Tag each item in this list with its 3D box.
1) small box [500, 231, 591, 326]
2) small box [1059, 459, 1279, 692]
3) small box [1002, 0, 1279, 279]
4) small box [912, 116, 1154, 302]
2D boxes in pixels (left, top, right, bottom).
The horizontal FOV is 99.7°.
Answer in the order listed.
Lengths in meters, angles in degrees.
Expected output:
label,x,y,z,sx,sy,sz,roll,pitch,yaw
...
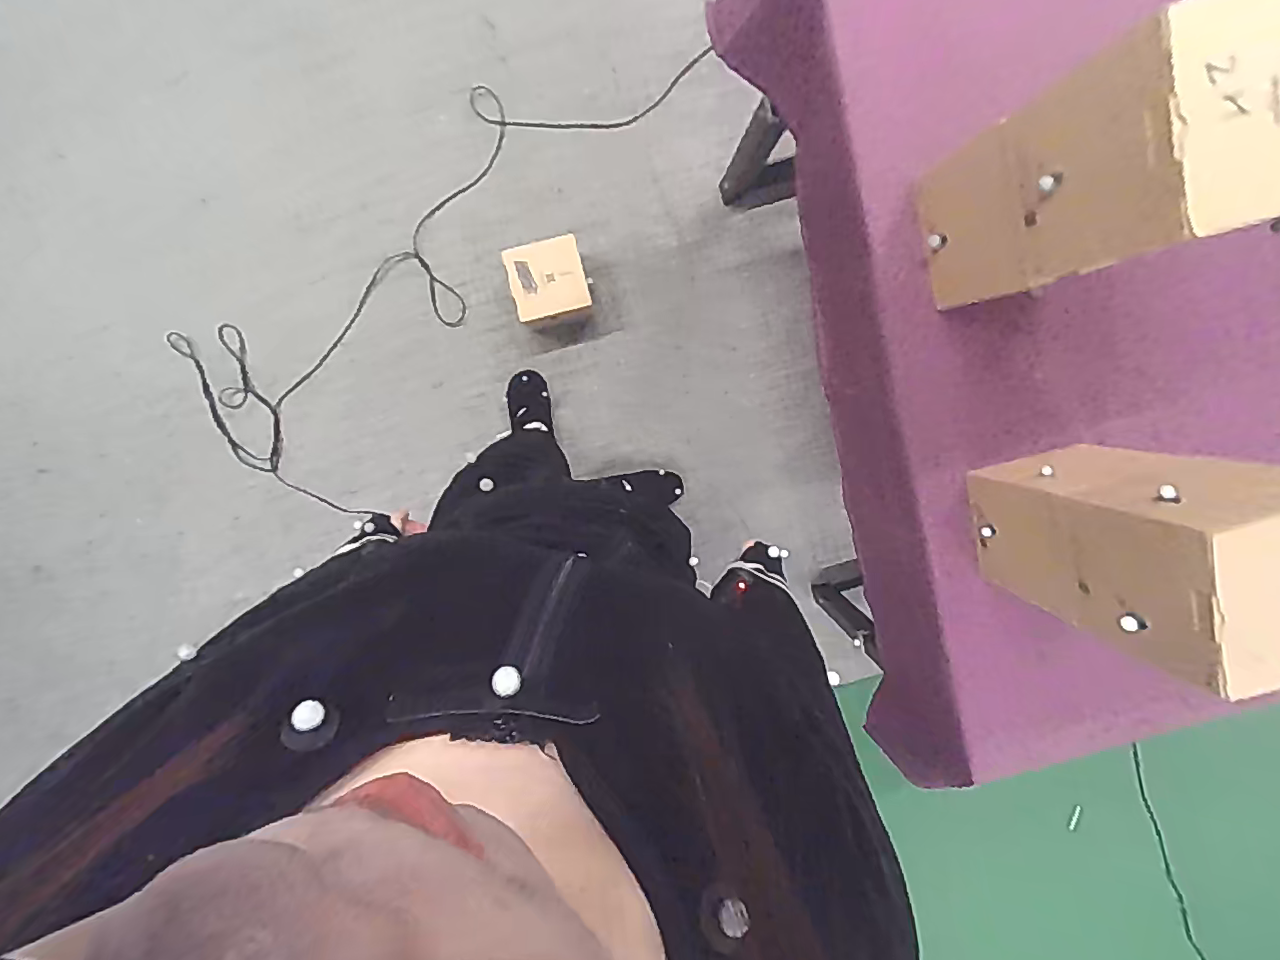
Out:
label,x,y,z,sx,sy,sz,roll,pitch,yaw
small box,-0.223,-0.485,1.328,0.179,0.176,0.168,-15,100,-2
small box,0.578,0.084,0.562,0.179,0.176,0.168,-15,101,-1
small box,0.476,-0.298,0.489,0.179,0.176,0.168,-15,100,0
small box,0.461,-0.324,0.652,0.168,0.176,0.179,-17,101,-1
